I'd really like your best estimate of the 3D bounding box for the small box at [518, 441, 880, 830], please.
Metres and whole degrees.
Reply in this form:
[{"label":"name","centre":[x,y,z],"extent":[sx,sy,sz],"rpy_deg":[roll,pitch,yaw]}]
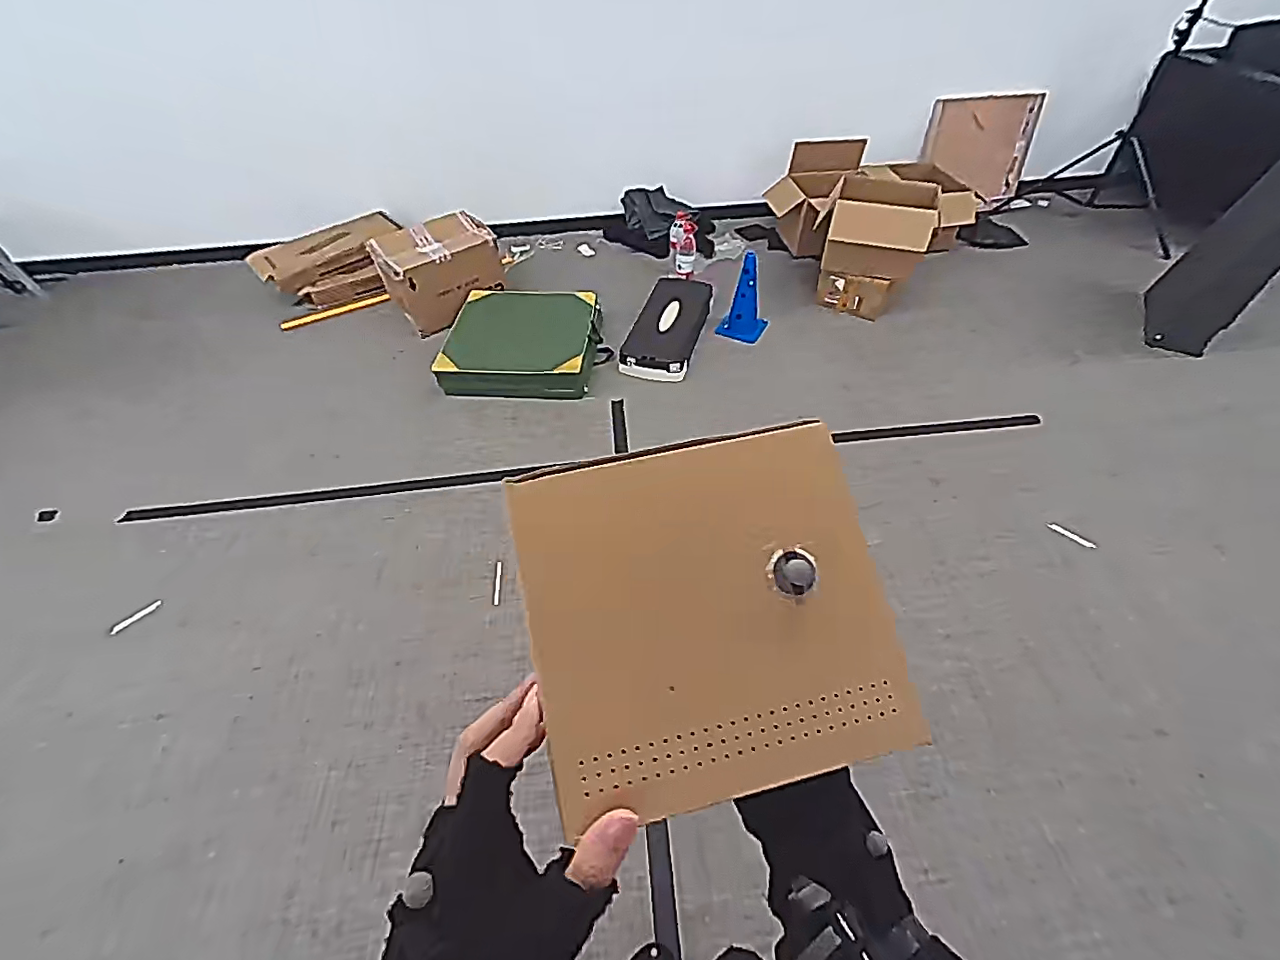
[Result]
[{"label":"small box","centre":[0.030,0.091,0.353],"extent":[0.179,0.168,0.176],"rpy_deg":[-12,76,-8]}]
